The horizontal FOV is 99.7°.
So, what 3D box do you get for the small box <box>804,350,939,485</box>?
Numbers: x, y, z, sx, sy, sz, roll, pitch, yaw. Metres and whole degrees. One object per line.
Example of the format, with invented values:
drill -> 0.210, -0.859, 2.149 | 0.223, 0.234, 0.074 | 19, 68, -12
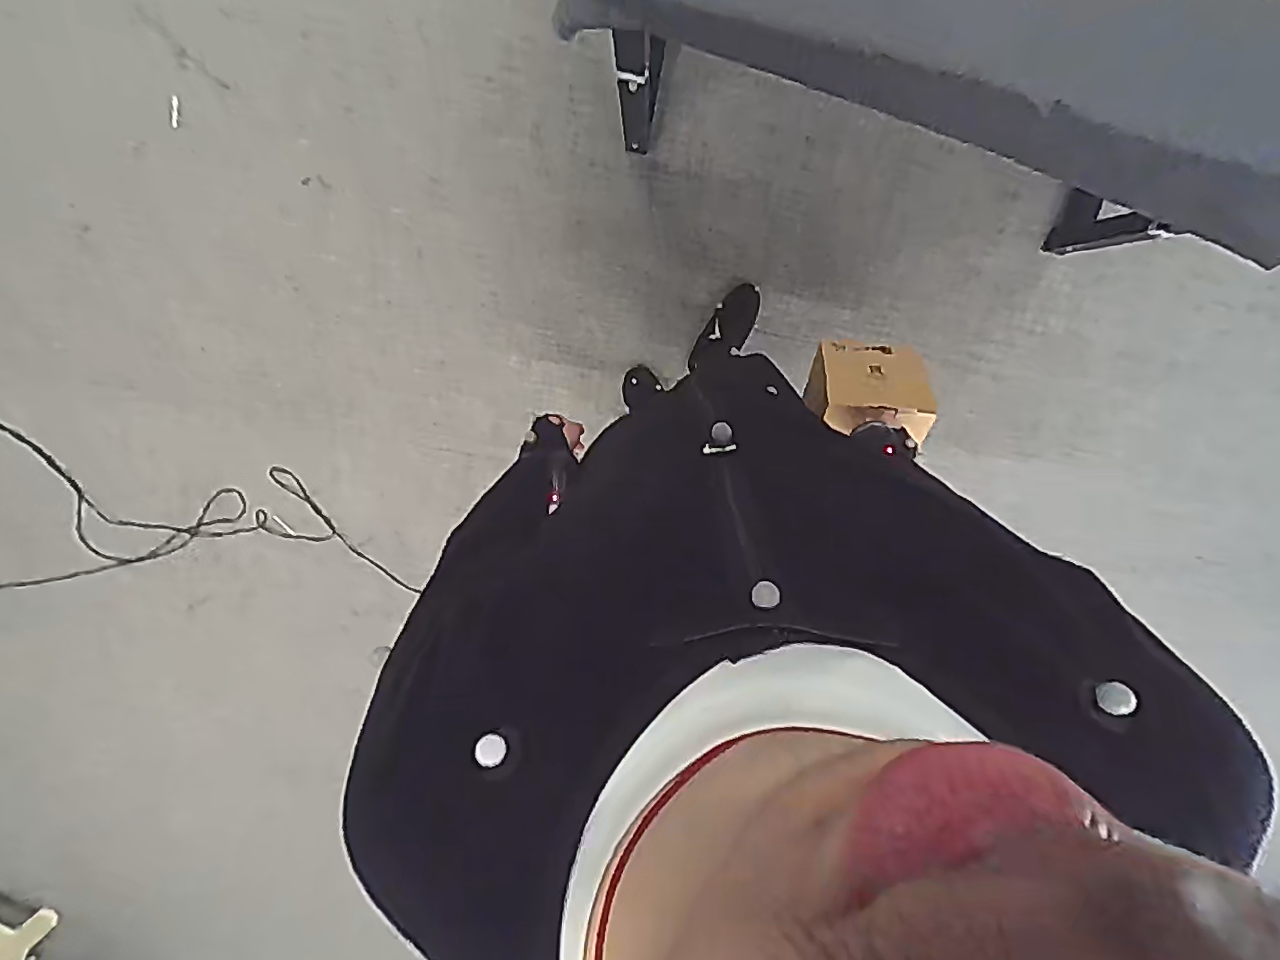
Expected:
small box -> 0.389, -0.106, 0.942 | 0.168, 0.179, 0.176 | 2, 139, 6
